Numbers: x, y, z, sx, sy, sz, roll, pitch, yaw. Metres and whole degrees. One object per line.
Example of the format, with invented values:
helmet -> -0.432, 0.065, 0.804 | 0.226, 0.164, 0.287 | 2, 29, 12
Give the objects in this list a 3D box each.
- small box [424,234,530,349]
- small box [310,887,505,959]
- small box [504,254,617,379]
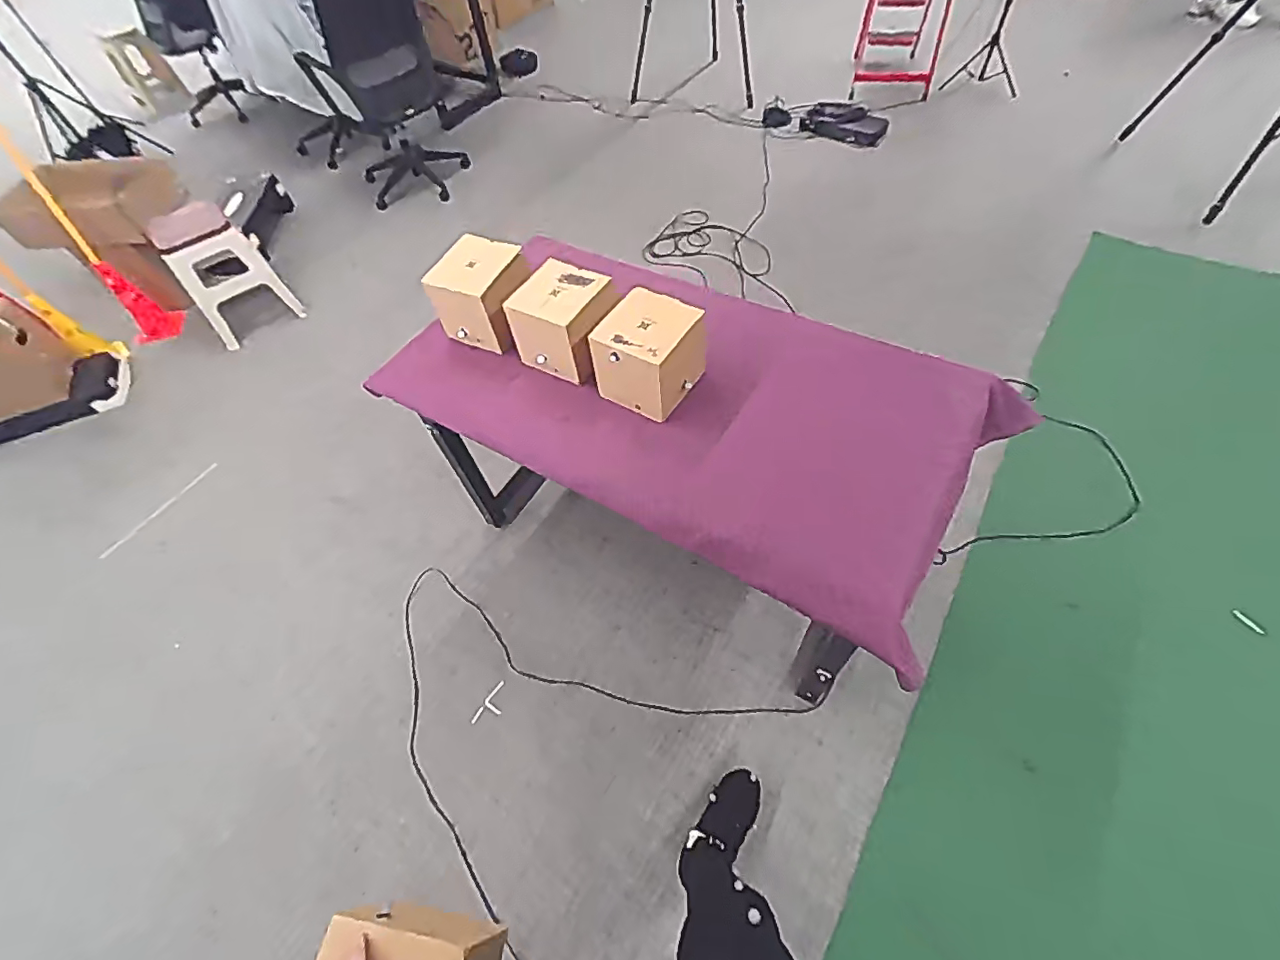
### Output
small box -> -0.361, -0.440, 1.267 | 0.168, 0.176, 0.179 | 20, 61, 19
small box -> -0.292, 0.620, 0.662 | 0.179, 0.176, 0.168 | 6, 58, 10
small box -> -0.164, -0.358, 1.190 | 0.168, 0.176, 0.179 | 25, 63, 21
